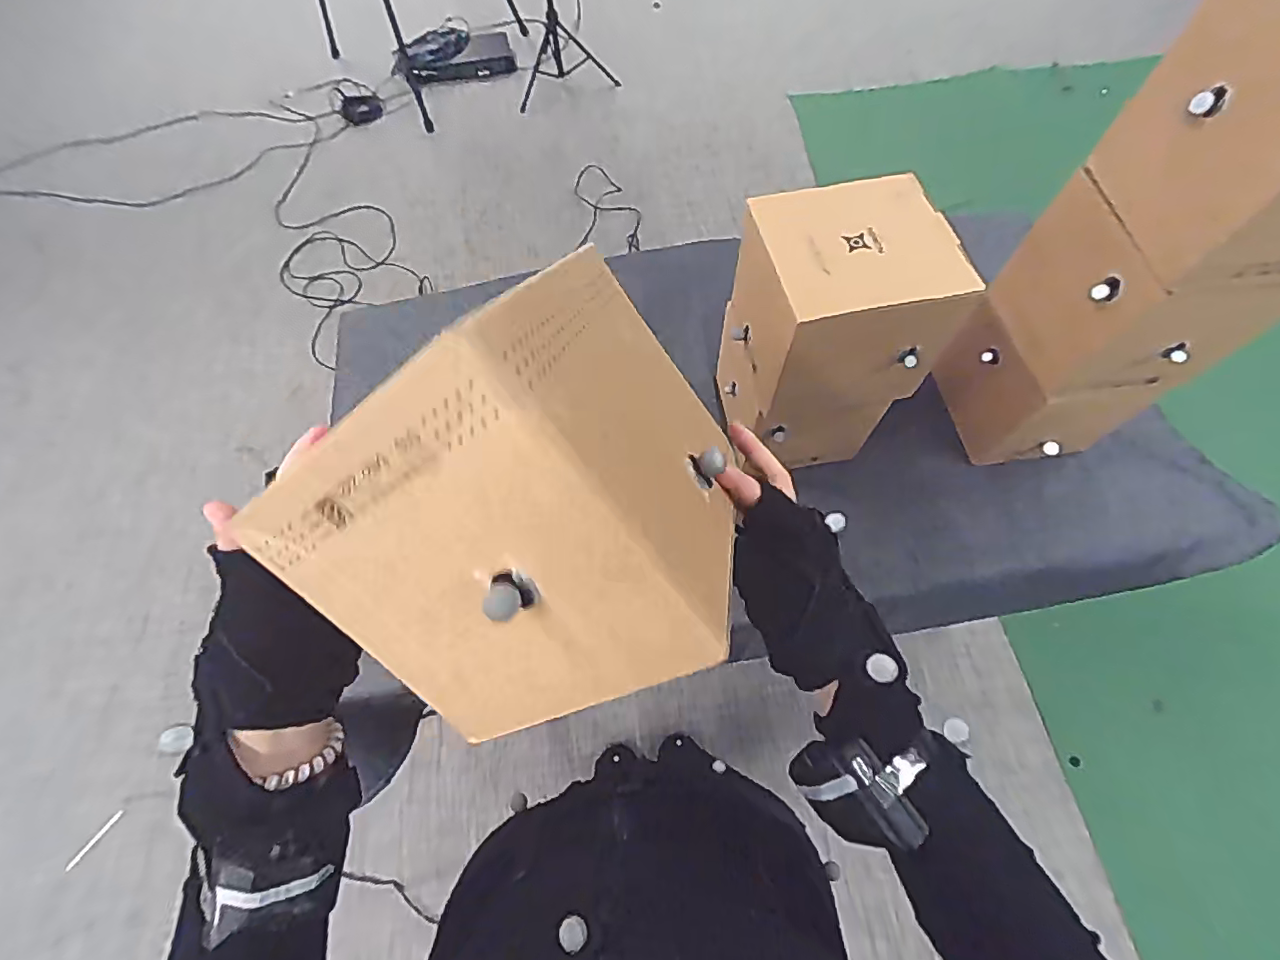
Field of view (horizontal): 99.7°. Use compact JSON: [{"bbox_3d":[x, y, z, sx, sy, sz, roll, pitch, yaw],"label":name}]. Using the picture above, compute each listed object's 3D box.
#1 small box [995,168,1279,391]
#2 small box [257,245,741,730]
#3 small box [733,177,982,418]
[{"bbox_3d":[0.531,-0.209,0.580,0.168,0.176,0.179,-6,65,0],"label":"small box"},{"bbox_3d":[-0.058,0.000,0.304,0.168,0.176,0.179,-28,25,27],"label":"small box"},{"bbox_3d":[0.211,-0.187,0.584,0.179,0.176,0.168,-10,64,-3],"label":"small box"}]
